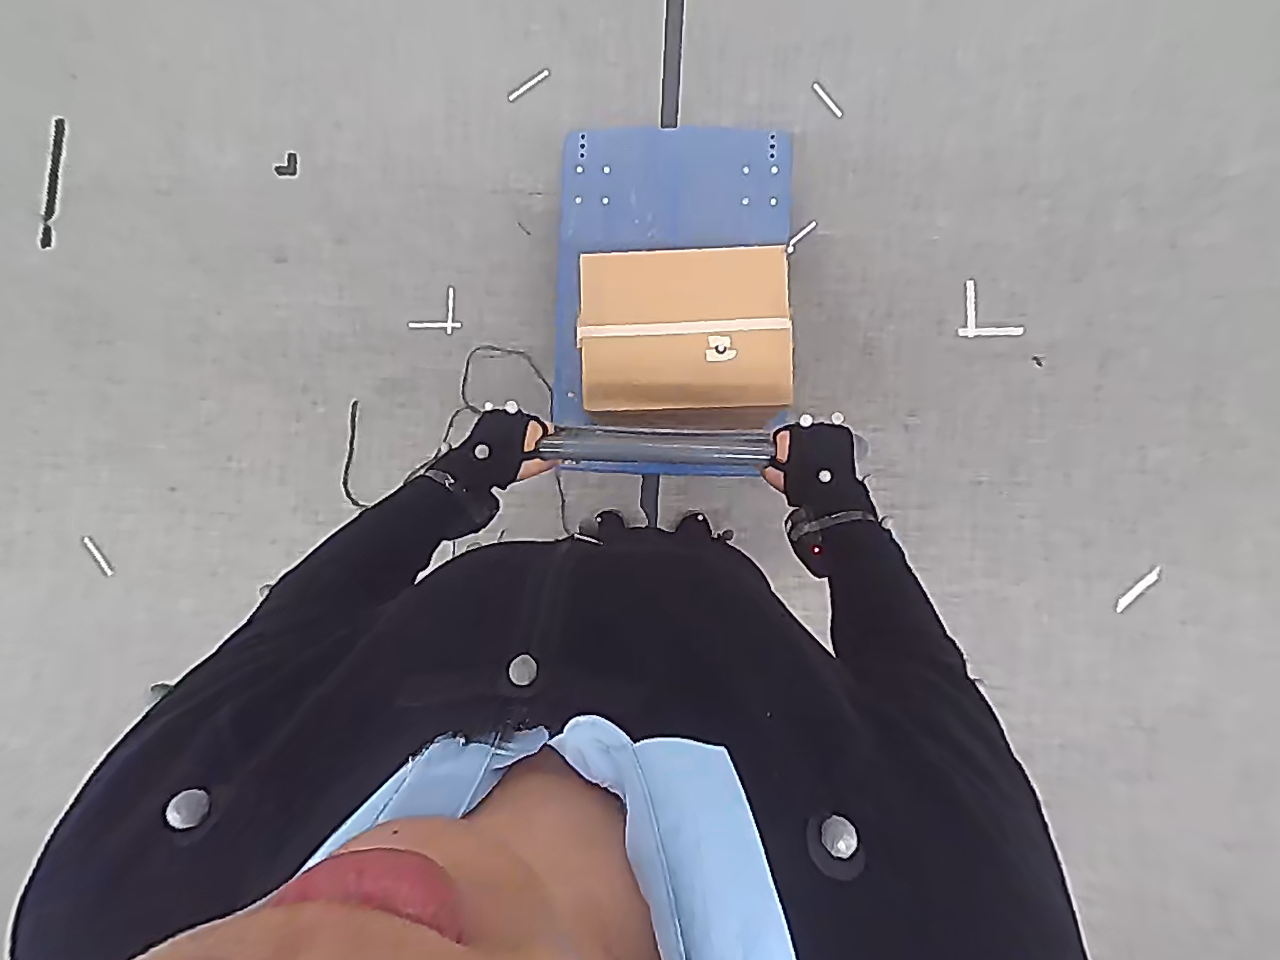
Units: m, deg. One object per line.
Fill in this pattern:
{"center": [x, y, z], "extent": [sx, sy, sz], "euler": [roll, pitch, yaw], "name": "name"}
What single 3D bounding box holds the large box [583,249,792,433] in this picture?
{"center": [0.093, -0.287, 1.208], "extent": [0.408, 0.320, 0.320], "euler": [-2, 88, 1], "name": "large box"}
